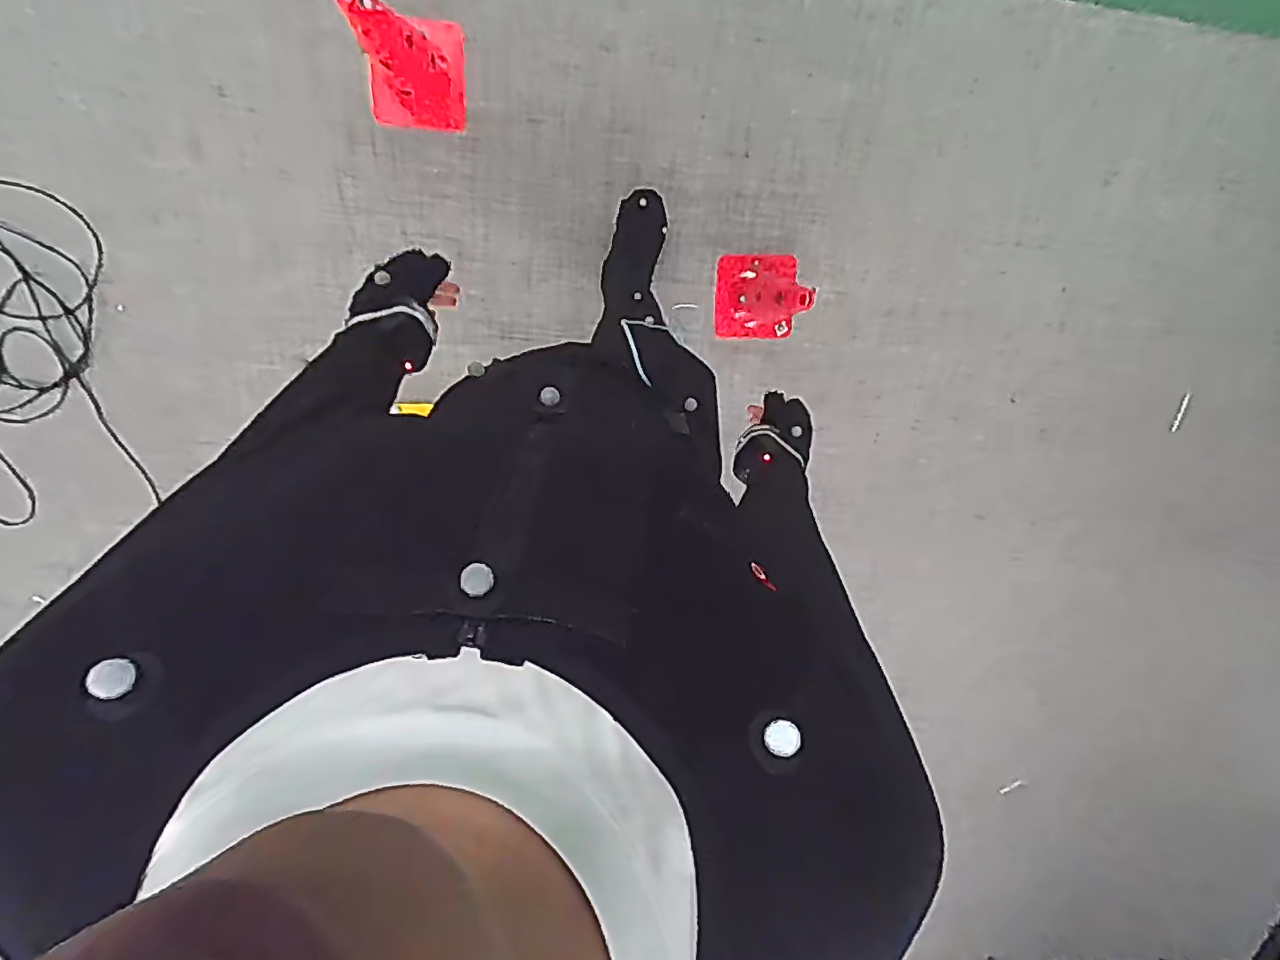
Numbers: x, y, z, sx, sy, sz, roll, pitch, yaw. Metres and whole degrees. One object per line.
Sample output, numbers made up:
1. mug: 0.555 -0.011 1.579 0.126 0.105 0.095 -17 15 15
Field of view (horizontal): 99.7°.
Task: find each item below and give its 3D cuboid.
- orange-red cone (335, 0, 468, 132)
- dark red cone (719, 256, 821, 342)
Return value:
1. orange-red cone: -0.465 -0.813 1.004 0.198 0.360 0.199 4 110 -4
2. dark red cone: 0.305 -0.392 1.174 0.202 0.394 0.201 -2 108 -3
